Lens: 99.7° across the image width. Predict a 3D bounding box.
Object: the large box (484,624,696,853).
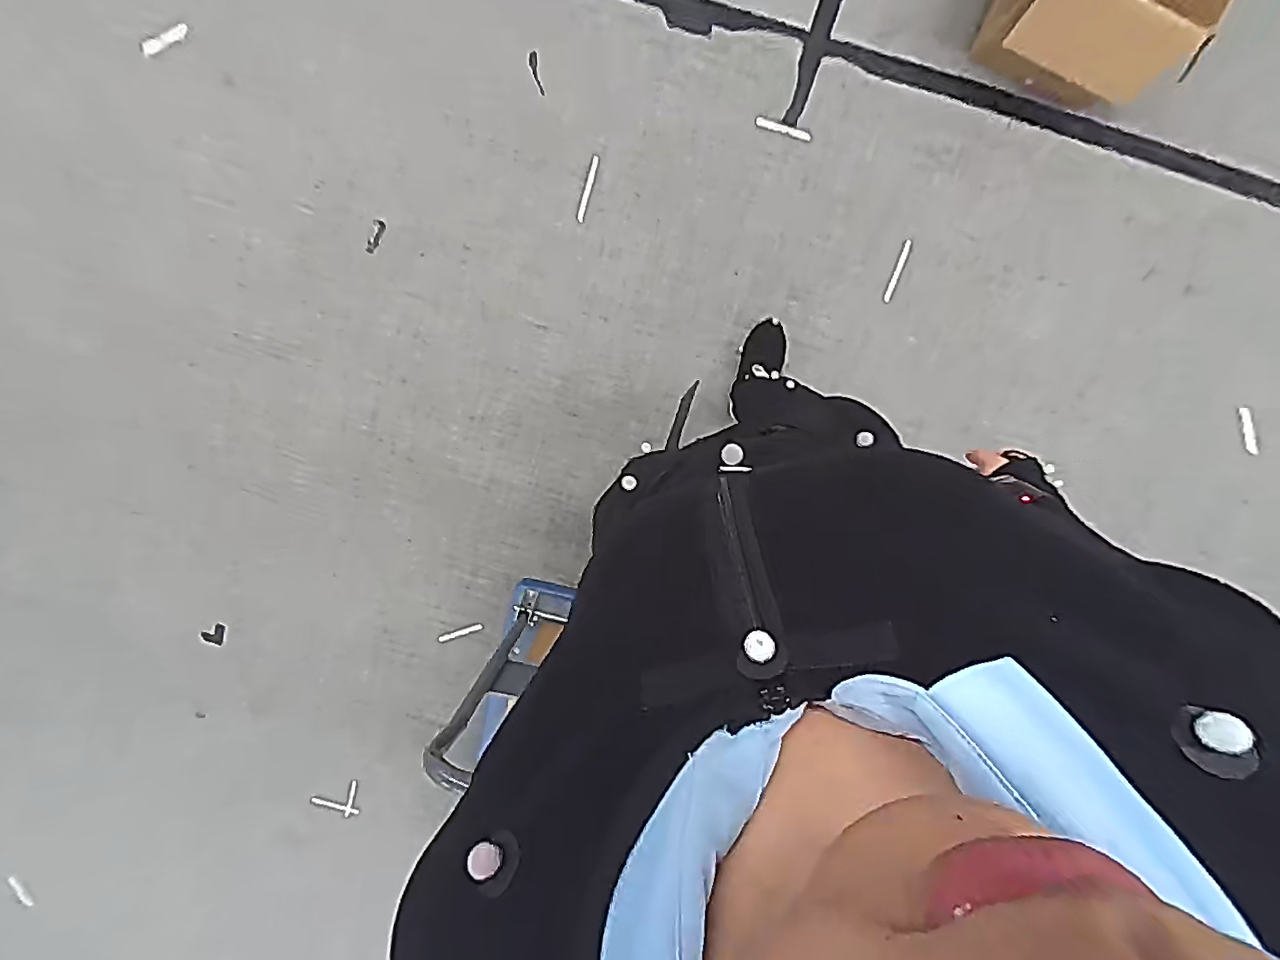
[{"bbox_3d":[-0.100,0.587,1.282,0.408,0.320,0.320,15,101,0],"label":"large box"}]
